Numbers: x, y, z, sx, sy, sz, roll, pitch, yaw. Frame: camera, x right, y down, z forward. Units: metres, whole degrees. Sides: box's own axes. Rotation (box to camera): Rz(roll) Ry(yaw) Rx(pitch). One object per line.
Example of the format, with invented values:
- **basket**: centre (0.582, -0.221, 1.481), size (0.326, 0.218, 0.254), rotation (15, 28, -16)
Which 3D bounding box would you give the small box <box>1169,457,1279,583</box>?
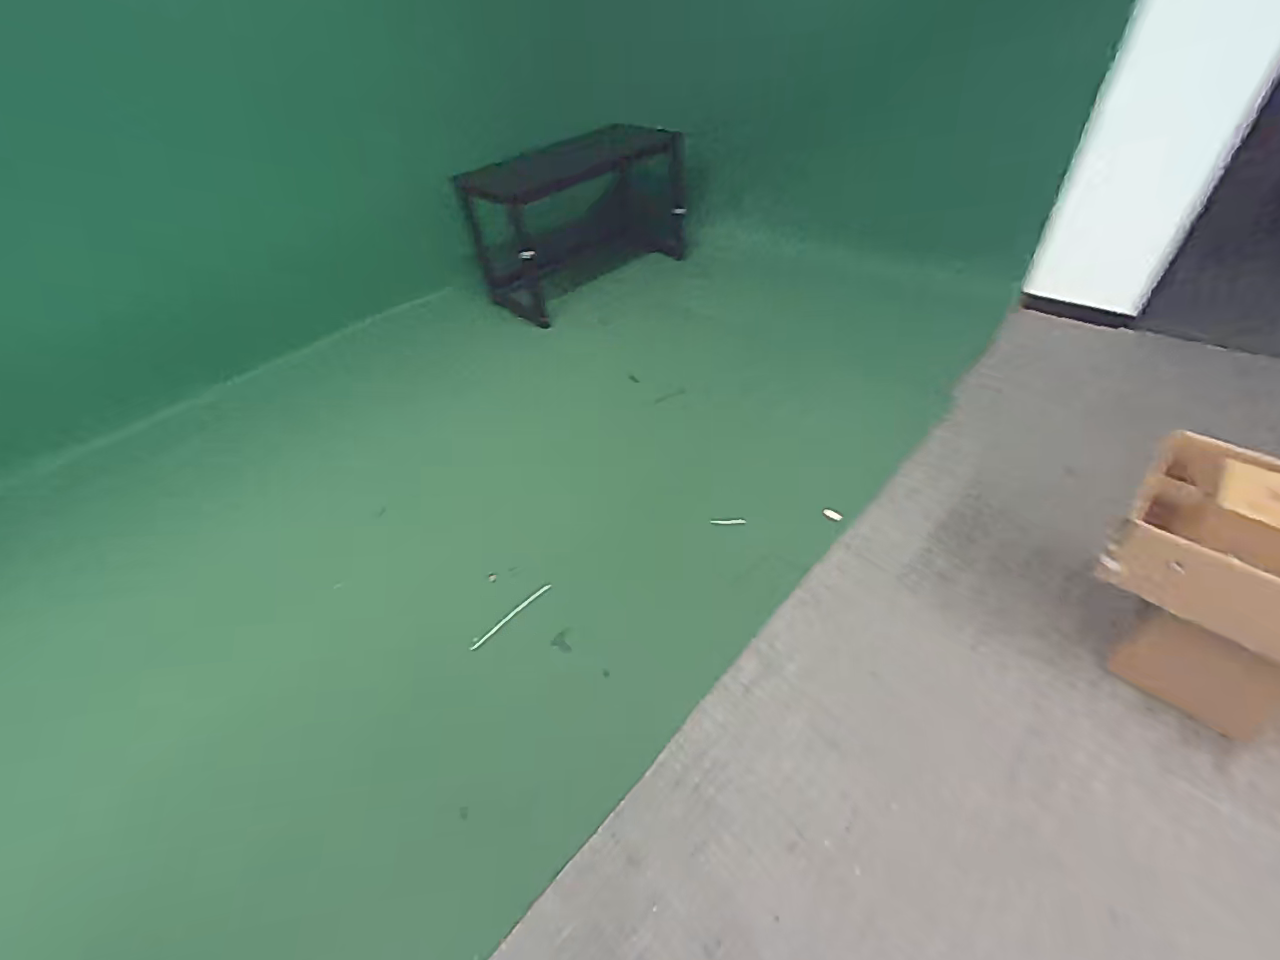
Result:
- **small box**: centre (1.308, 0.087, 1.176), size (0.168, 0.176, 0.179), rotation (28, 55, 31)
